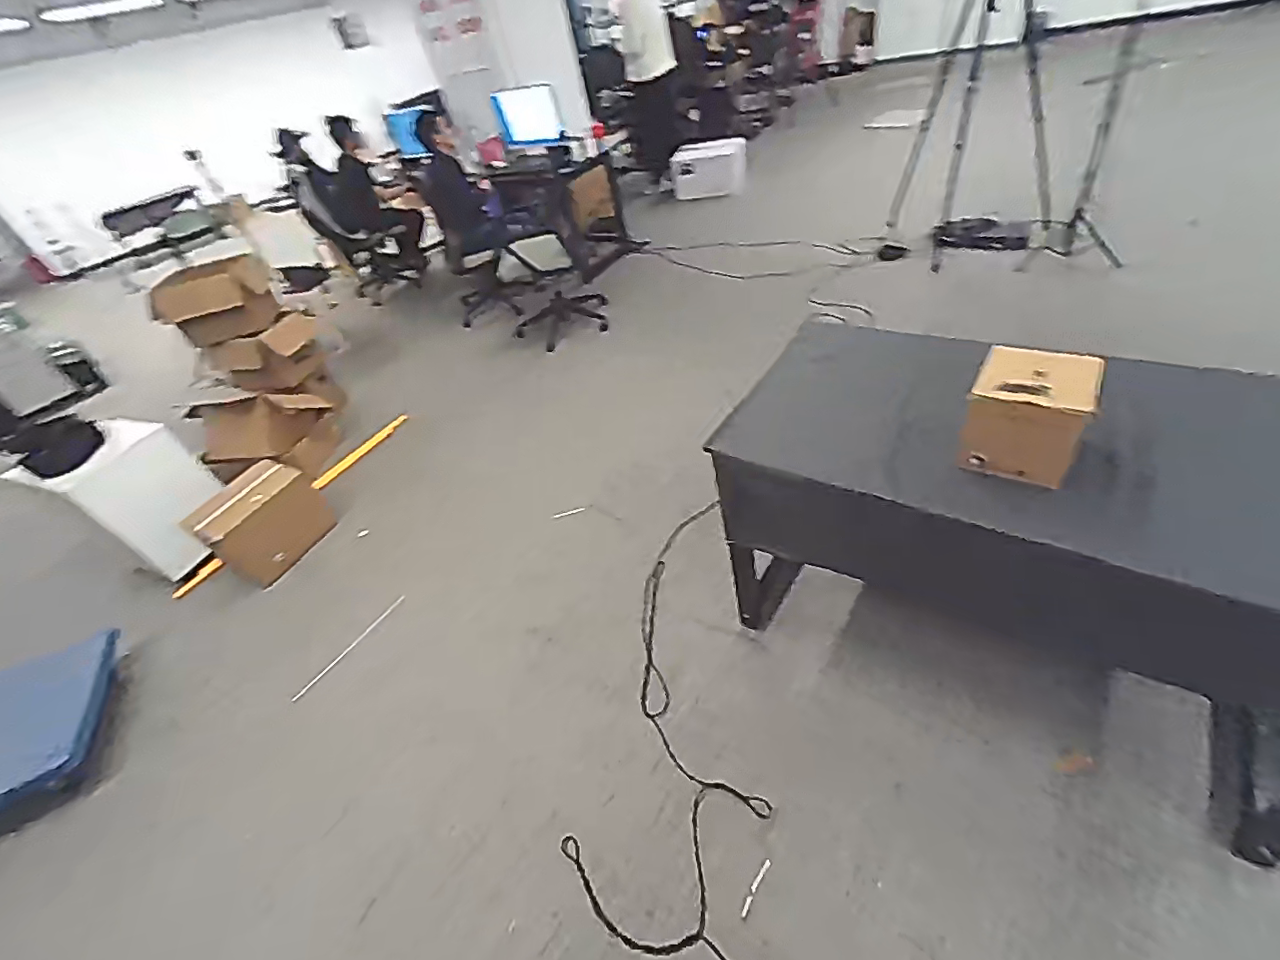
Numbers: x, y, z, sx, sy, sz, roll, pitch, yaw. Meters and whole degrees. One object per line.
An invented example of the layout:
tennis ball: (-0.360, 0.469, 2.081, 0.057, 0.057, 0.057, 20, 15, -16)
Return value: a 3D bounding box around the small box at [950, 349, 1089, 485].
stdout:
small box: (0.687, -0.117, 0.993, 0.168, 0.176, 0.179, 18, 50, 33)
